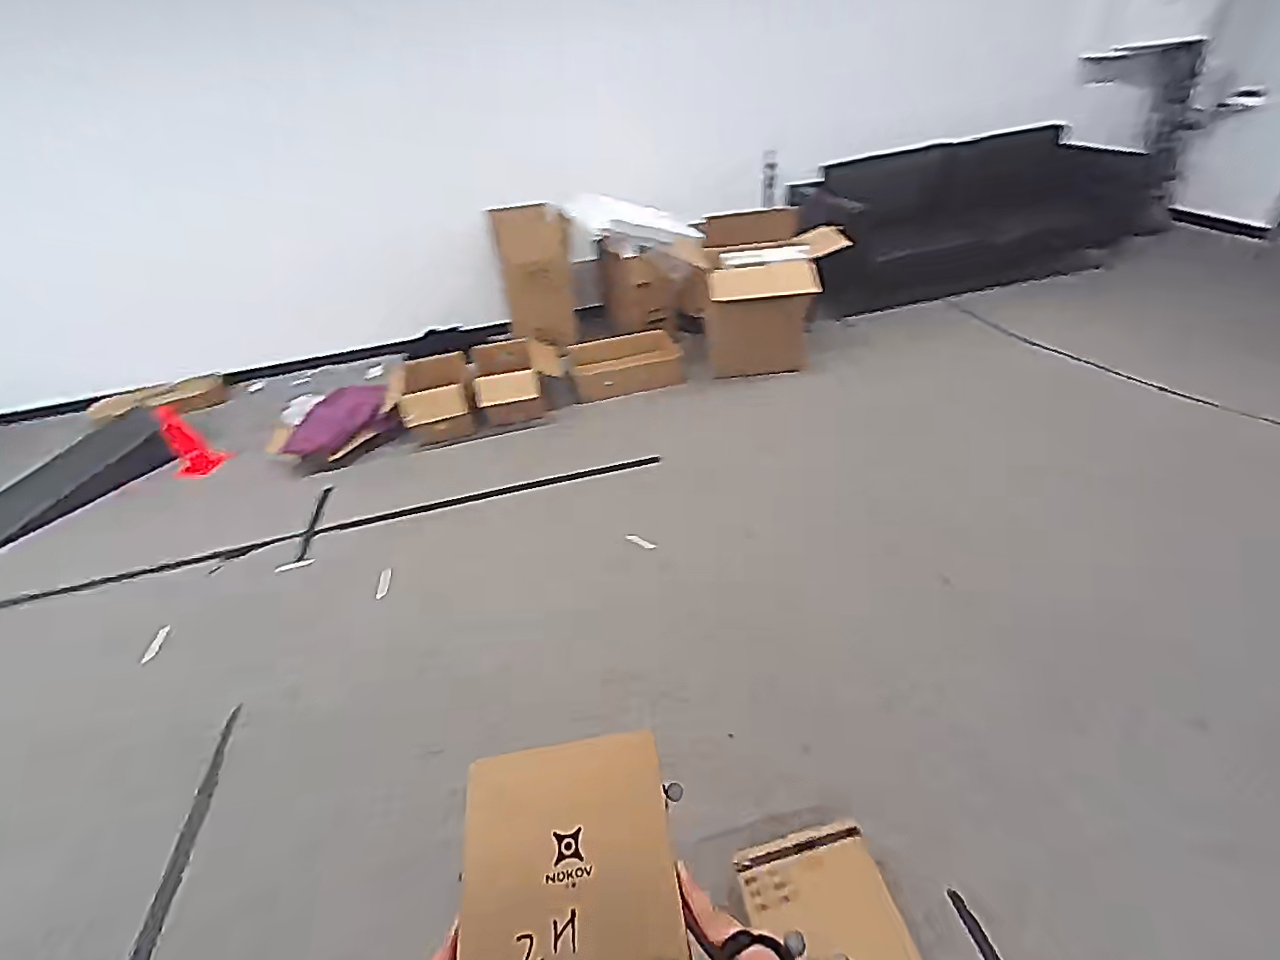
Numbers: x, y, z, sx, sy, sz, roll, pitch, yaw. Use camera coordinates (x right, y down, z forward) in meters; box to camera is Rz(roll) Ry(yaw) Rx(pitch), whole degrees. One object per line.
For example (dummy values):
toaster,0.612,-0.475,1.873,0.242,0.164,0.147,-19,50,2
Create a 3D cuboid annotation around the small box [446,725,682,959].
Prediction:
small box,-0.059,0.350,0.478,0.168,0.176,0.179,-10,46,-4
